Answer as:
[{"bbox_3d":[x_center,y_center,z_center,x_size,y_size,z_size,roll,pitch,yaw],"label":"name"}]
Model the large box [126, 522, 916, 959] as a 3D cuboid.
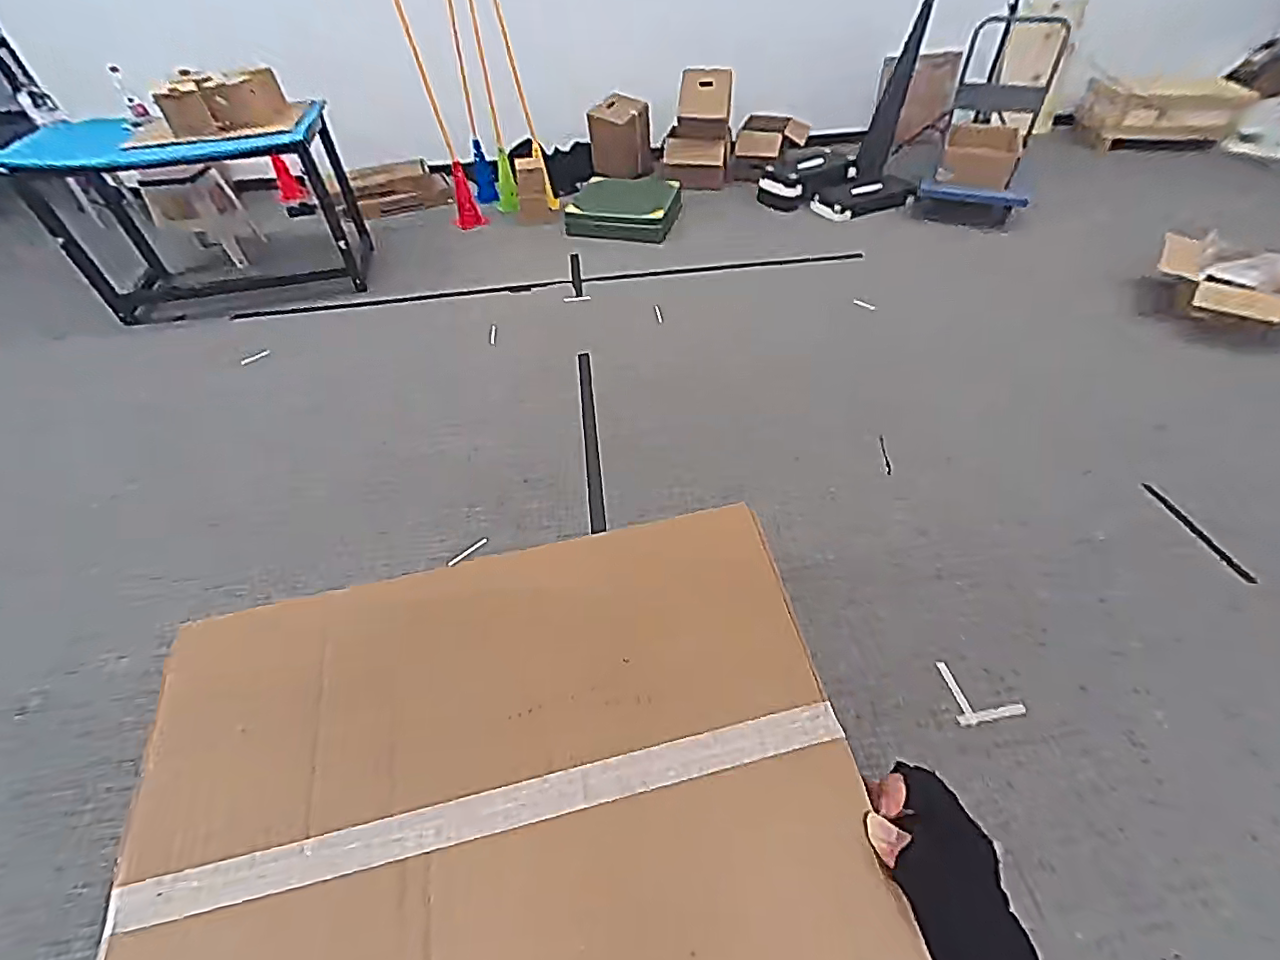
[{"bbox_3d":[-0.072,0.276,0.436,0.408,0.320,0.320,-12,57,-5],"label":"large box"}]
